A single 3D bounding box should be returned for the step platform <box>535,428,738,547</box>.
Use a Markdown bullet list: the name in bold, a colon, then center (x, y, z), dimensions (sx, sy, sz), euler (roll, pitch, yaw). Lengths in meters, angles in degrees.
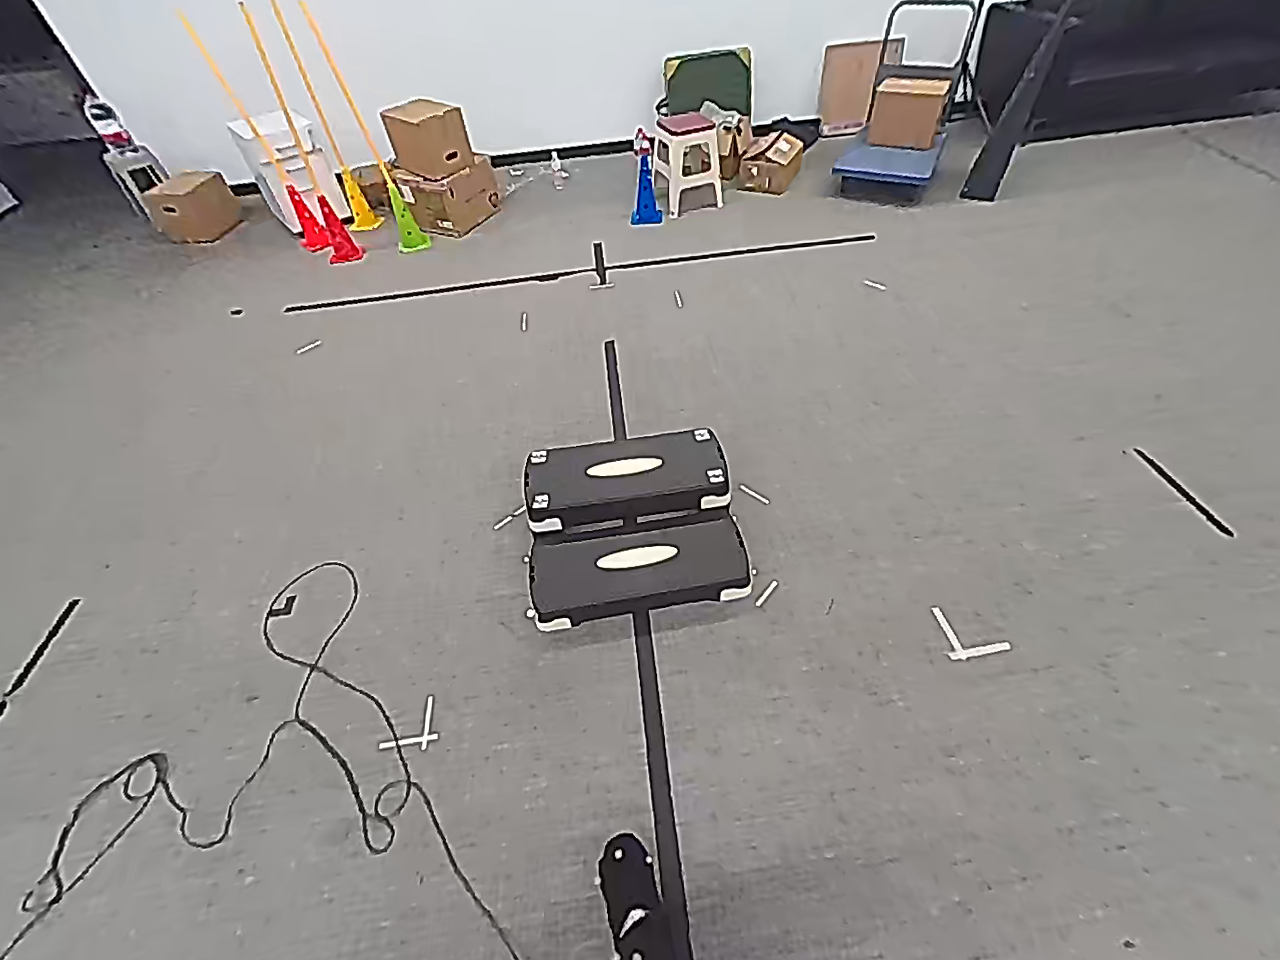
- **step platform**: center (-0.014, 0.017, 1.850), dimensions (0.684, 0.204, 0.286), euler (-8, 48, -4)
